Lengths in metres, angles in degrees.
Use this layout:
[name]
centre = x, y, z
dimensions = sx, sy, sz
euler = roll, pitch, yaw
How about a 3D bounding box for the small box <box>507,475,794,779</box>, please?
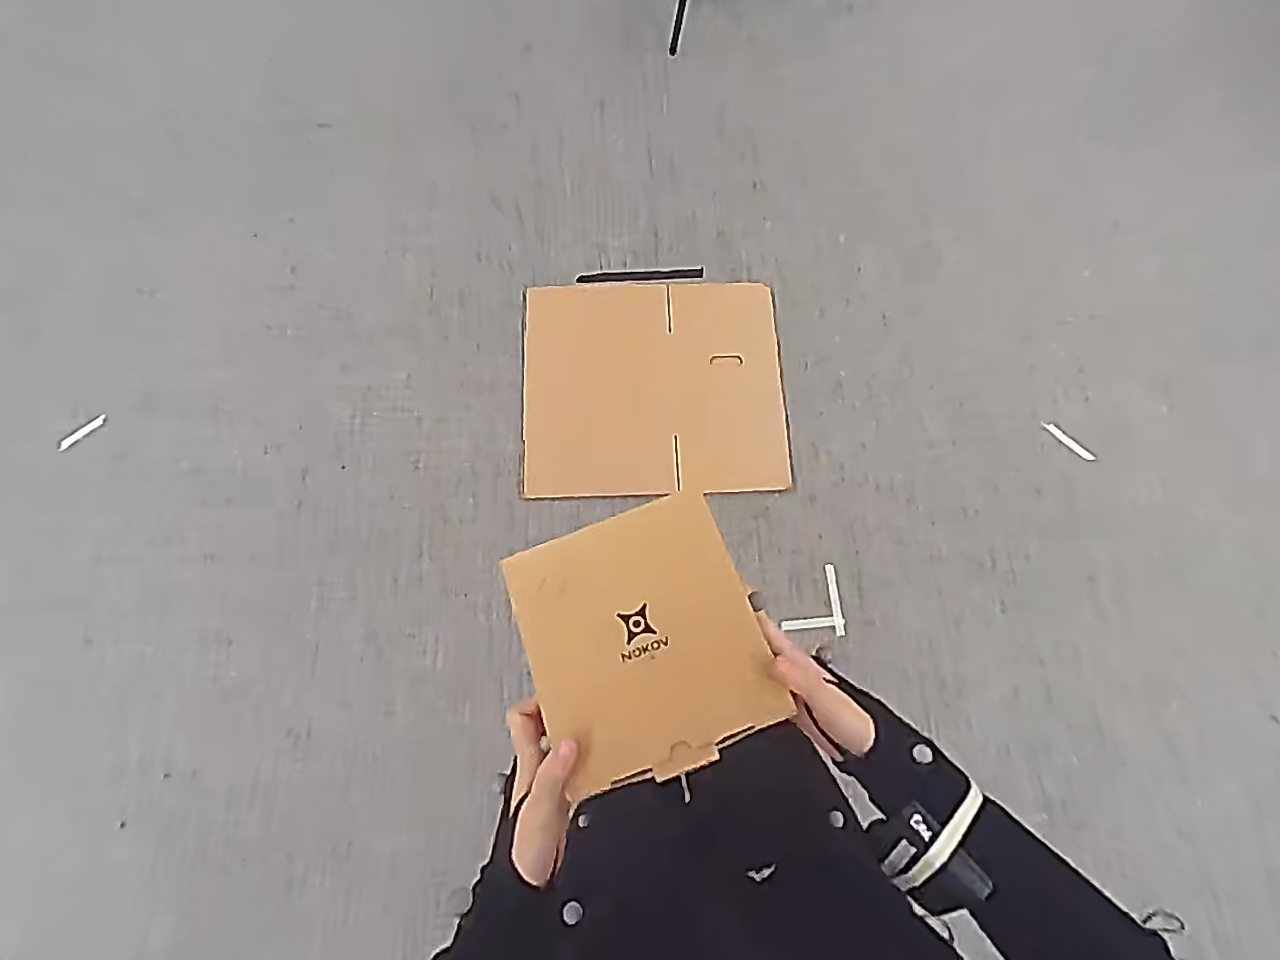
[small box]
centre = 0.006, 0.125, 0.461
dimensions = 0.168, 0.176, 0.179
euler = -20, 69, -3
